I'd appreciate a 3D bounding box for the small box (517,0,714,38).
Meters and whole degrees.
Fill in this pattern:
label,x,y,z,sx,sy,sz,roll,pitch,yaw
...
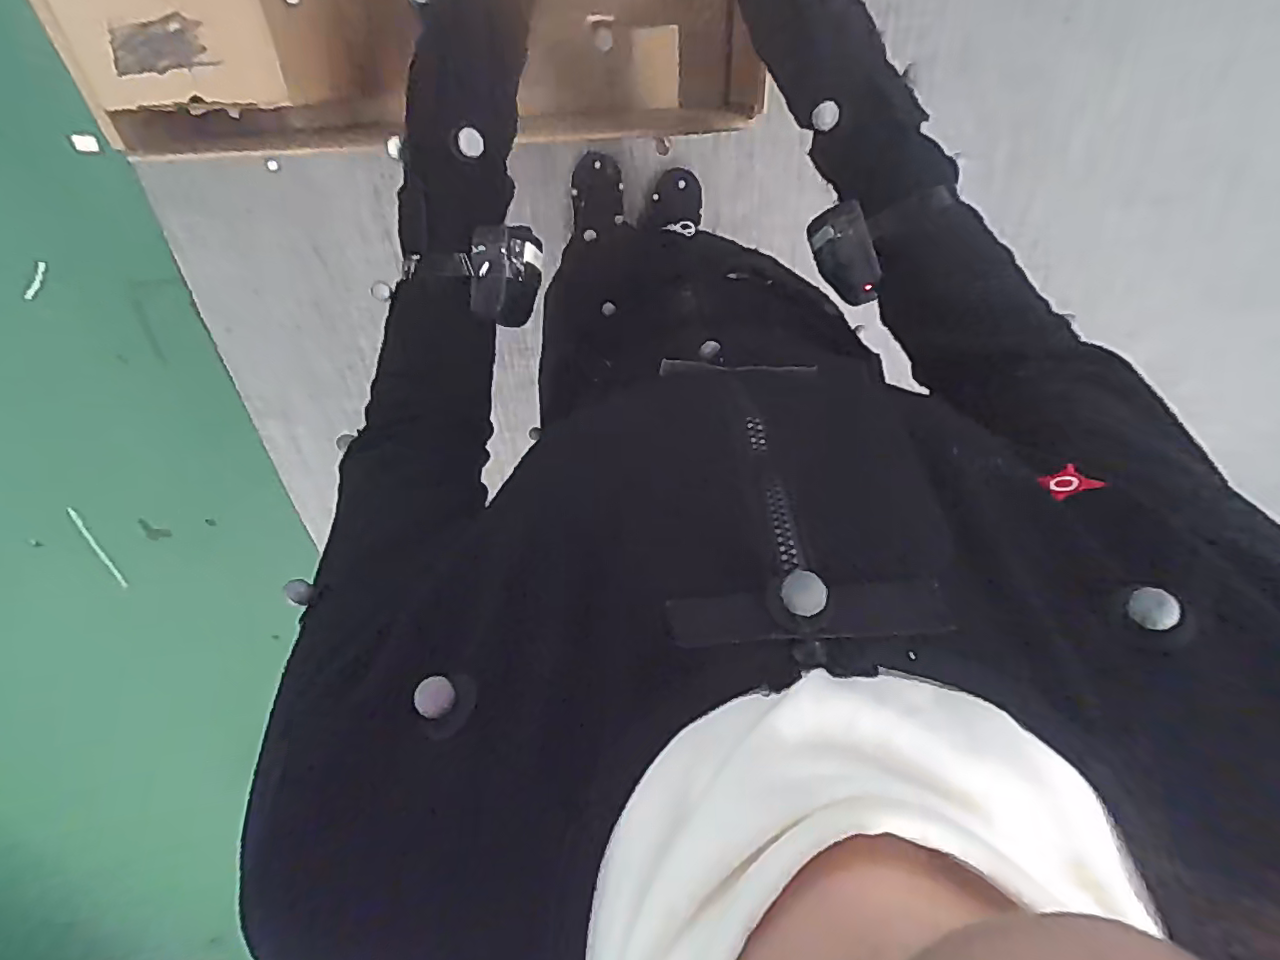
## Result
label,x,y,z,sx,sy,sz,roll,pitch,yaw
small box,-0.022,-0.436,0.365,0.168,0.176,0.179,-9,119,-3
